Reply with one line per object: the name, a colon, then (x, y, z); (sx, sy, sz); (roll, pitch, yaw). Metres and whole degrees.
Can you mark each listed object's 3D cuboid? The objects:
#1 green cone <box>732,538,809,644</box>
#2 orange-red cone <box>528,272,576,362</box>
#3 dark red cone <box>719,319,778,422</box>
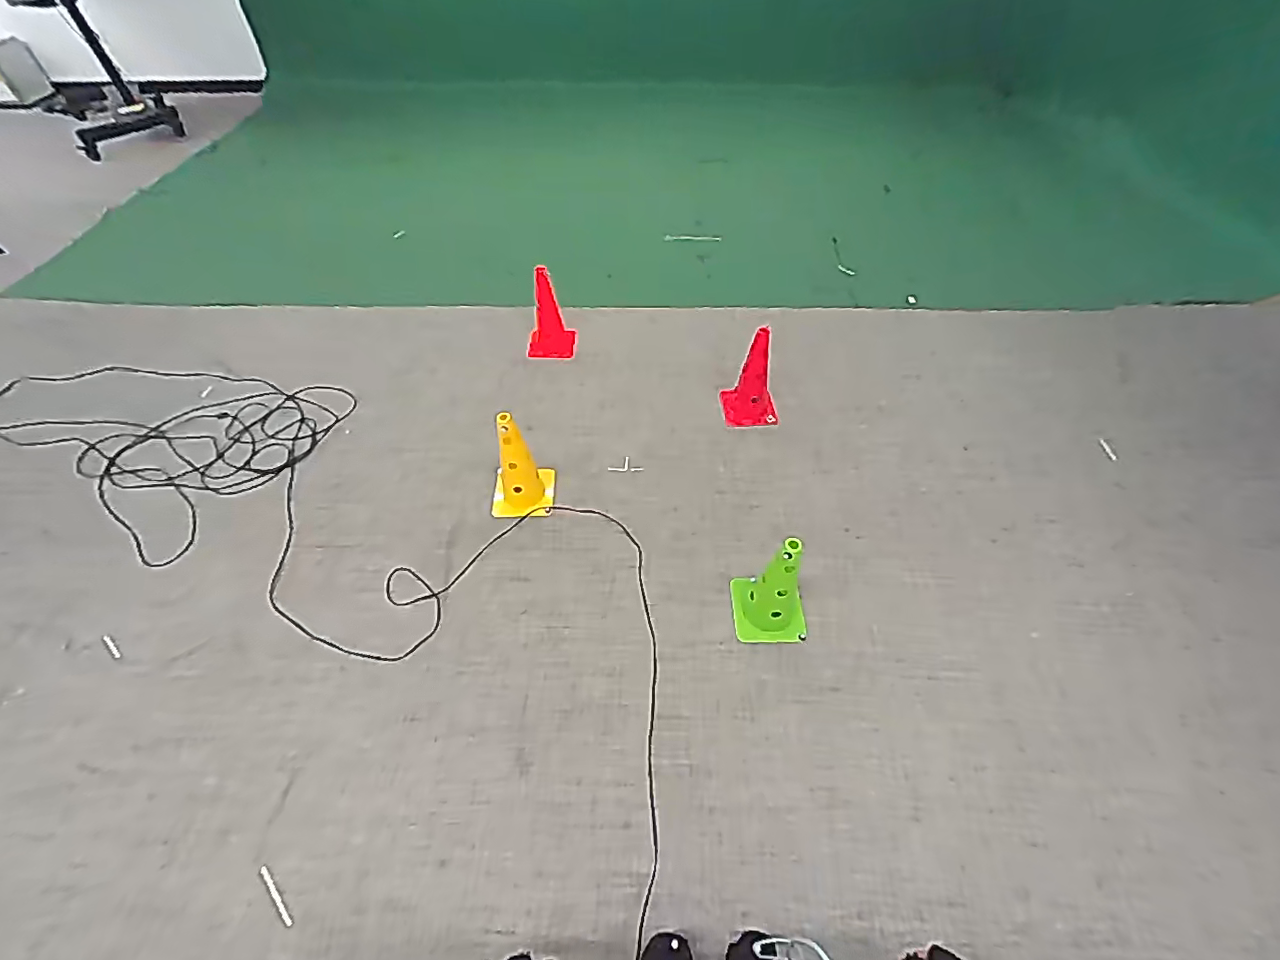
green cone: (0.370, 0.267, 1.437); (0.202, 0.368, 0.200); (-2, 50, 1)
orange-red cone: (-0.387, -0.686, 2.231); (0.198, 0.360, 0.199); (0, 51, 2)
dark red cone: (0.413, -0.402, 1.955); (0.202, 0.394, 0.201); (-4, 49, -2)
